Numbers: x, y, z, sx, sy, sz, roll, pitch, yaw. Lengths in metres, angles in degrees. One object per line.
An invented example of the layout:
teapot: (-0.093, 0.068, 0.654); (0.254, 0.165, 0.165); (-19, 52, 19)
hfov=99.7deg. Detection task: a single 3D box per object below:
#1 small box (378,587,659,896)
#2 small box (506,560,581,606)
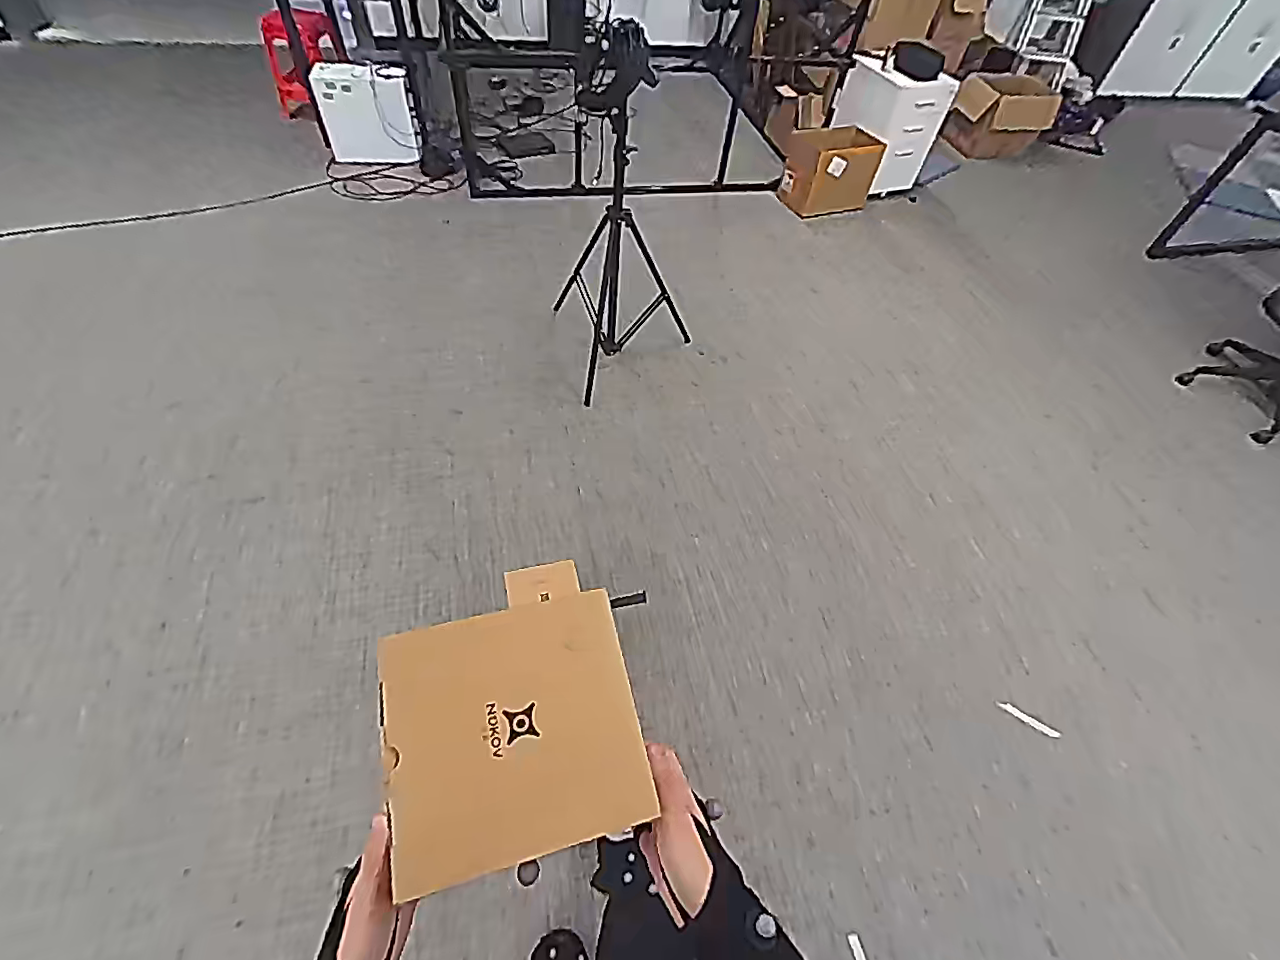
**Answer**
small box: (-0.100, 0.206, 0.455); (0.179, 0.176, 0.168); (-11, 65, -13)
small box: (-0.219, 0.320, 1.289); (0.168, 0.176, 0.179); (-9, 54, -14)
